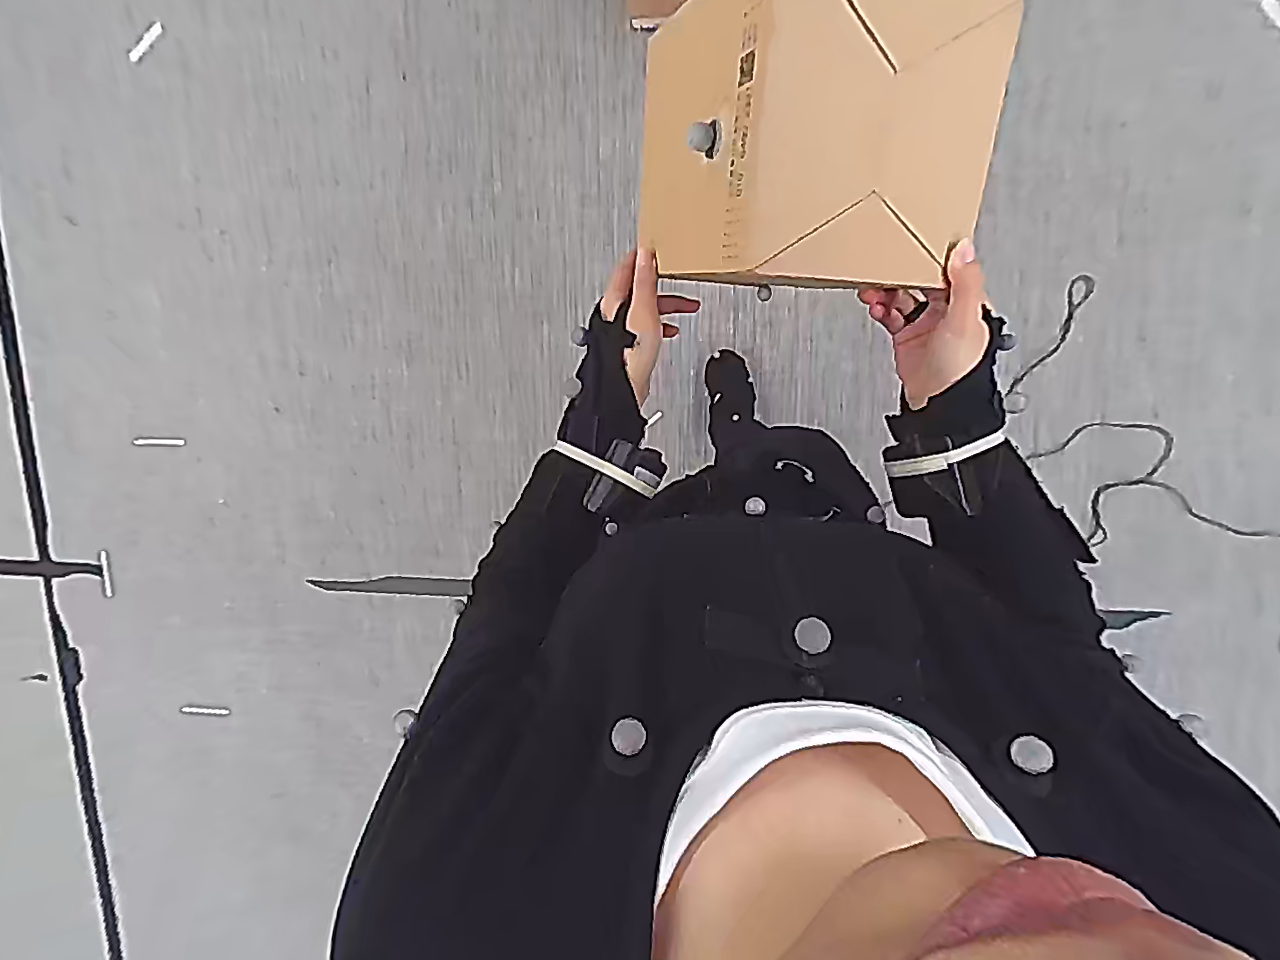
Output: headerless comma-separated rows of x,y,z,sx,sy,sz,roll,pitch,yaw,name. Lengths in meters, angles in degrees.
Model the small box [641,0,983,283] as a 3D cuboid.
0.114,-0.234,0.394,0.179,0.176,0.168,-5,110,-23,small box
